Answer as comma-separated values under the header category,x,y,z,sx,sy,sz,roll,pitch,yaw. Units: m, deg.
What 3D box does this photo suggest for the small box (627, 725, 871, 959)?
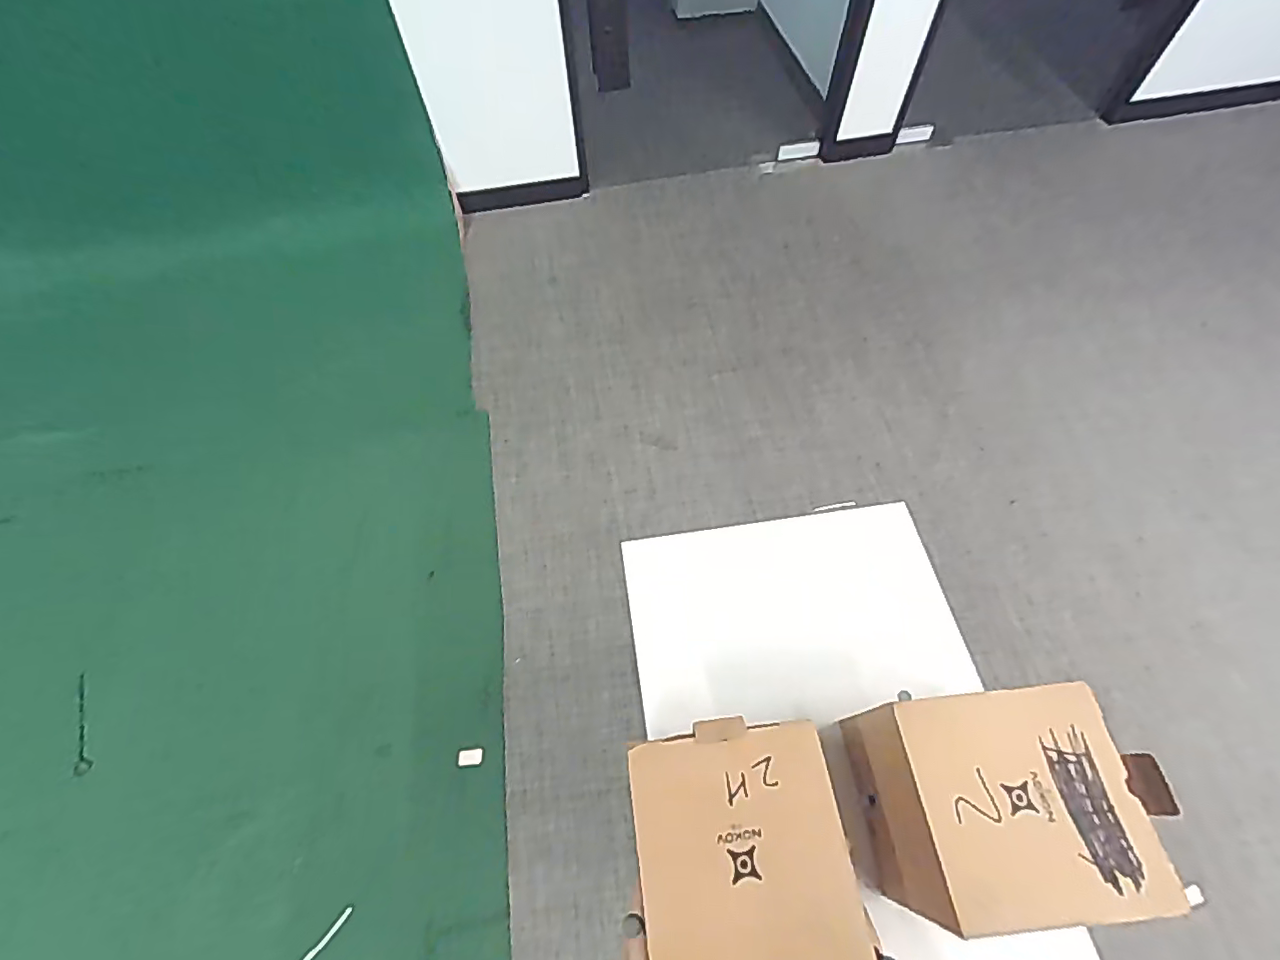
category,x,y,z,sx,sy,sz,roll,pitch,yaw
small box,0.080,0.332,0.491,0.168,0.176,0.179,-6,61,-4
